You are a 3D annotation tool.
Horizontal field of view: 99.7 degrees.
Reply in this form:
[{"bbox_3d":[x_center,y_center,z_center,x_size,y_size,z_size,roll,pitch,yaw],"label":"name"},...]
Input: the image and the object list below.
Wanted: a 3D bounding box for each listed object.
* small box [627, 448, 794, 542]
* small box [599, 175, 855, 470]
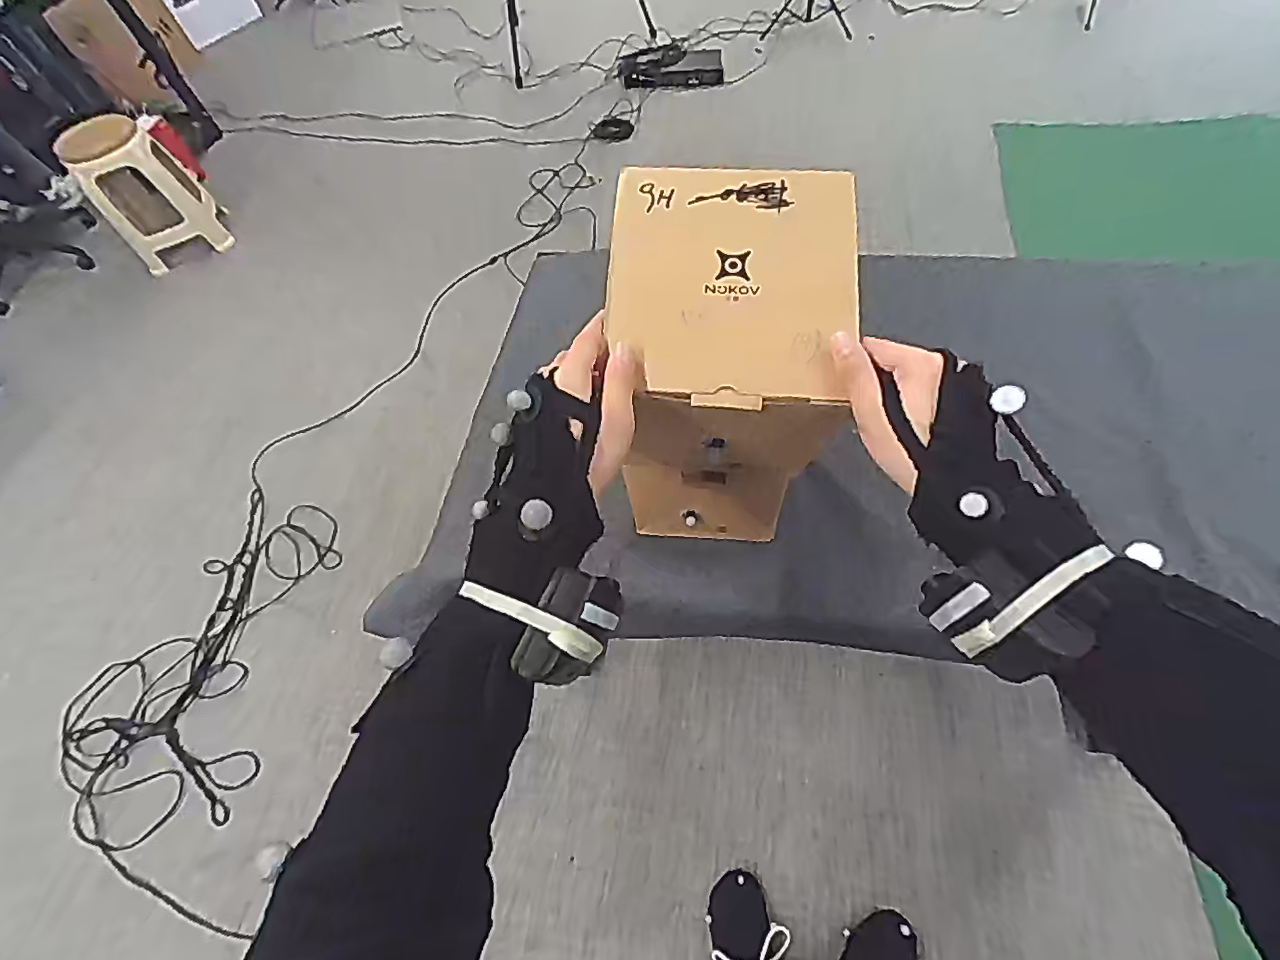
[{"bbox_3d":[0.082,-0.045,0.634,0.168,0.176,0.179,2,60,8],"label":"small box"},{"bbox_3d":[0.066,-0.112,0.441,0.168,0.176,0.179,3,75,4],"label":"small box"}]
